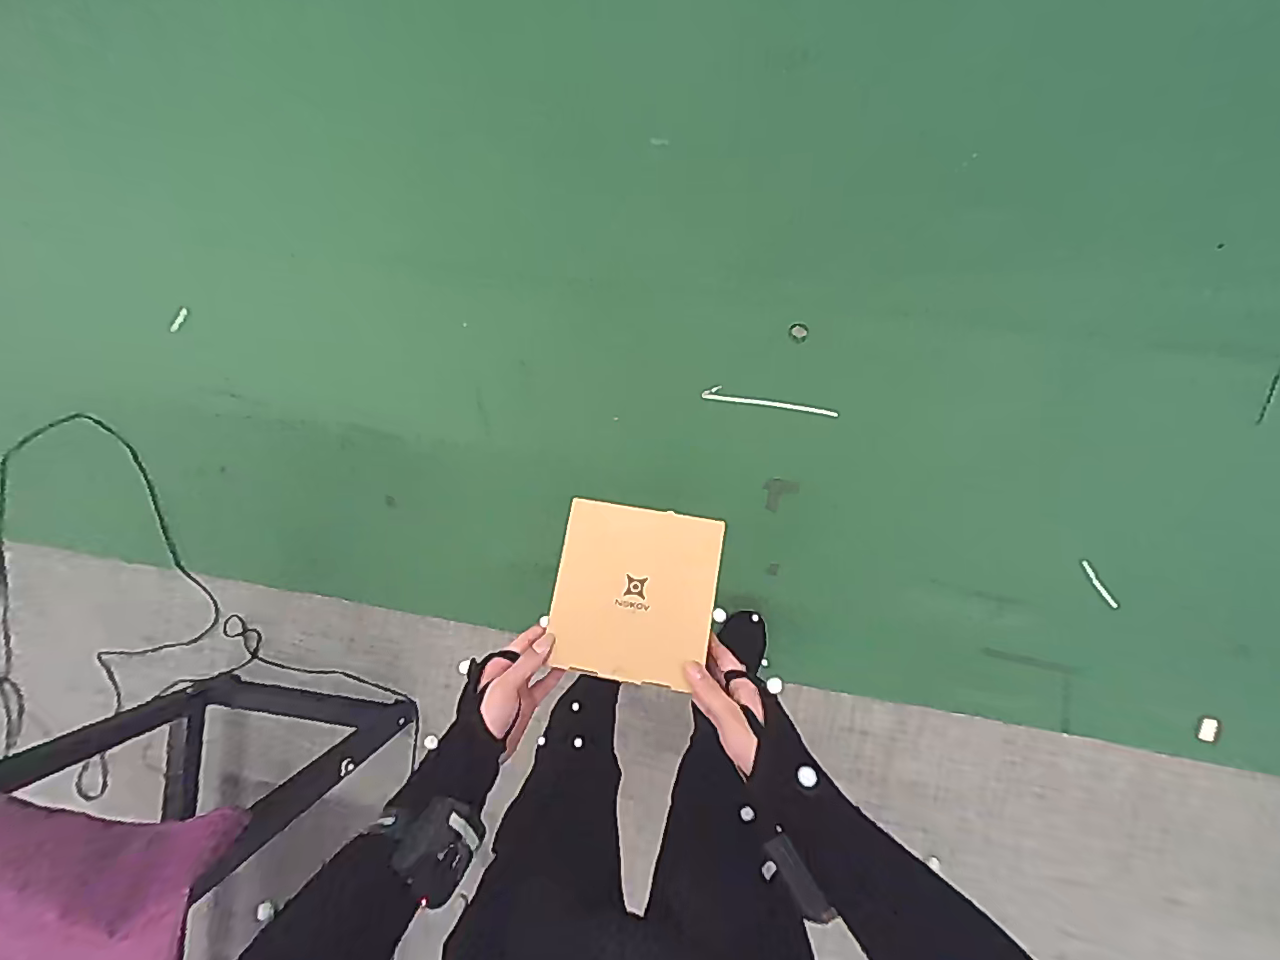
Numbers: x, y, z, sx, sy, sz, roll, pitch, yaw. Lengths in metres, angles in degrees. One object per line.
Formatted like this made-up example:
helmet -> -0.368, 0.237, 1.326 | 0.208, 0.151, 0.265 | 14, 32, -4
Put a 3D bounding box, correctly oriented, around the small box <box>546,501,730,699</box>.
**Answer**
small box -> 0.002, 0.137, 0.632 | 0.168, 0.176, 0.179 | 10, 77, 4
